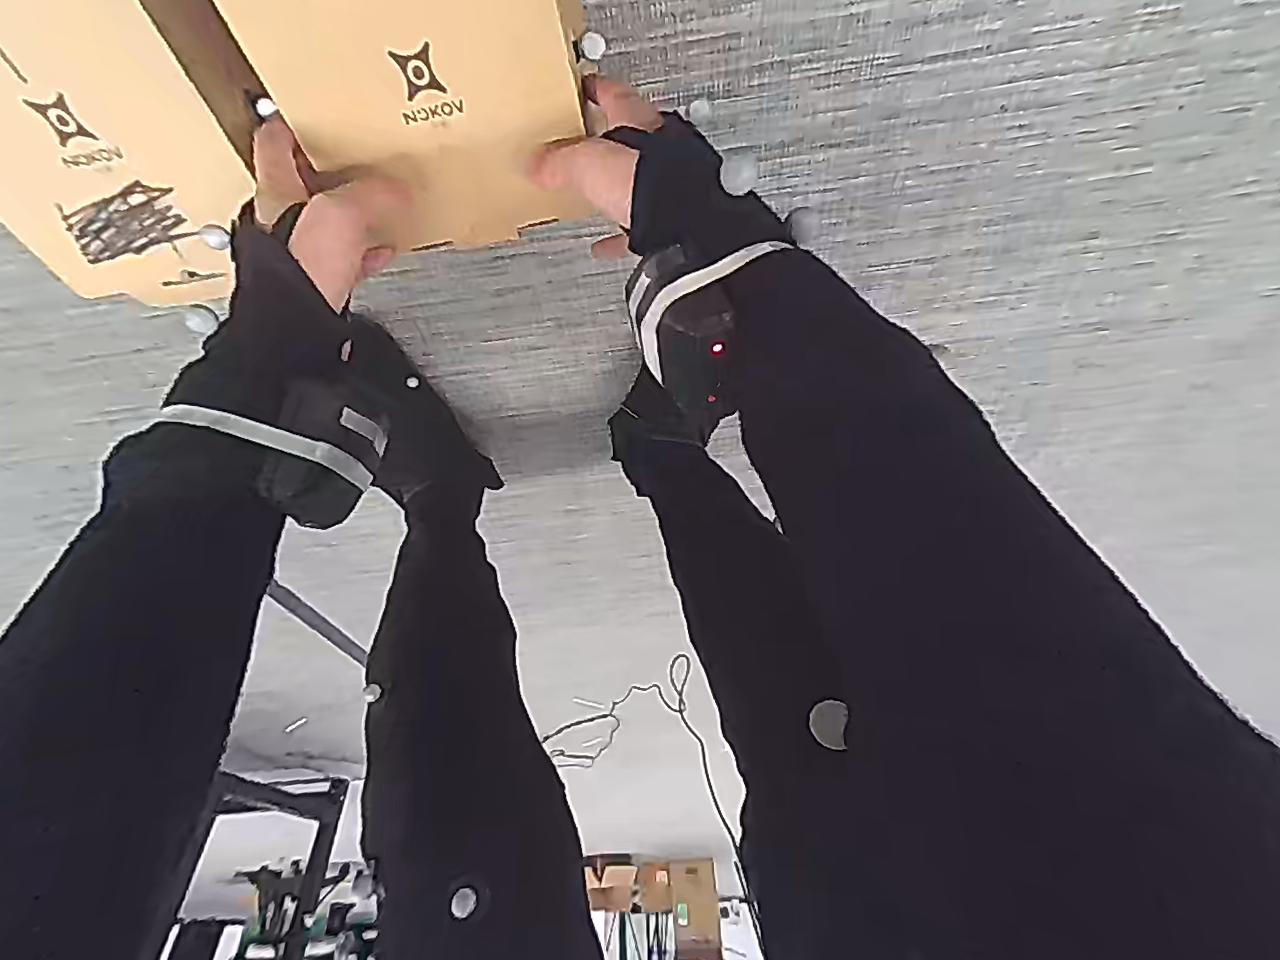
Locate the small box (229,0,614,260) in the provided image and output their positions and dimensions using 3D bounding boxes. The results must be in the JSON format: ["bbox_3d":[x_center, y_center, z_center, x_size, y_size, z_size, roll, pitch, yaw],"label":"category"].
[{"bbox_3d":[-0.116,-0.277,0.346,0.168,0.176,0.179,-9,141,7],"label":"small box"}]
